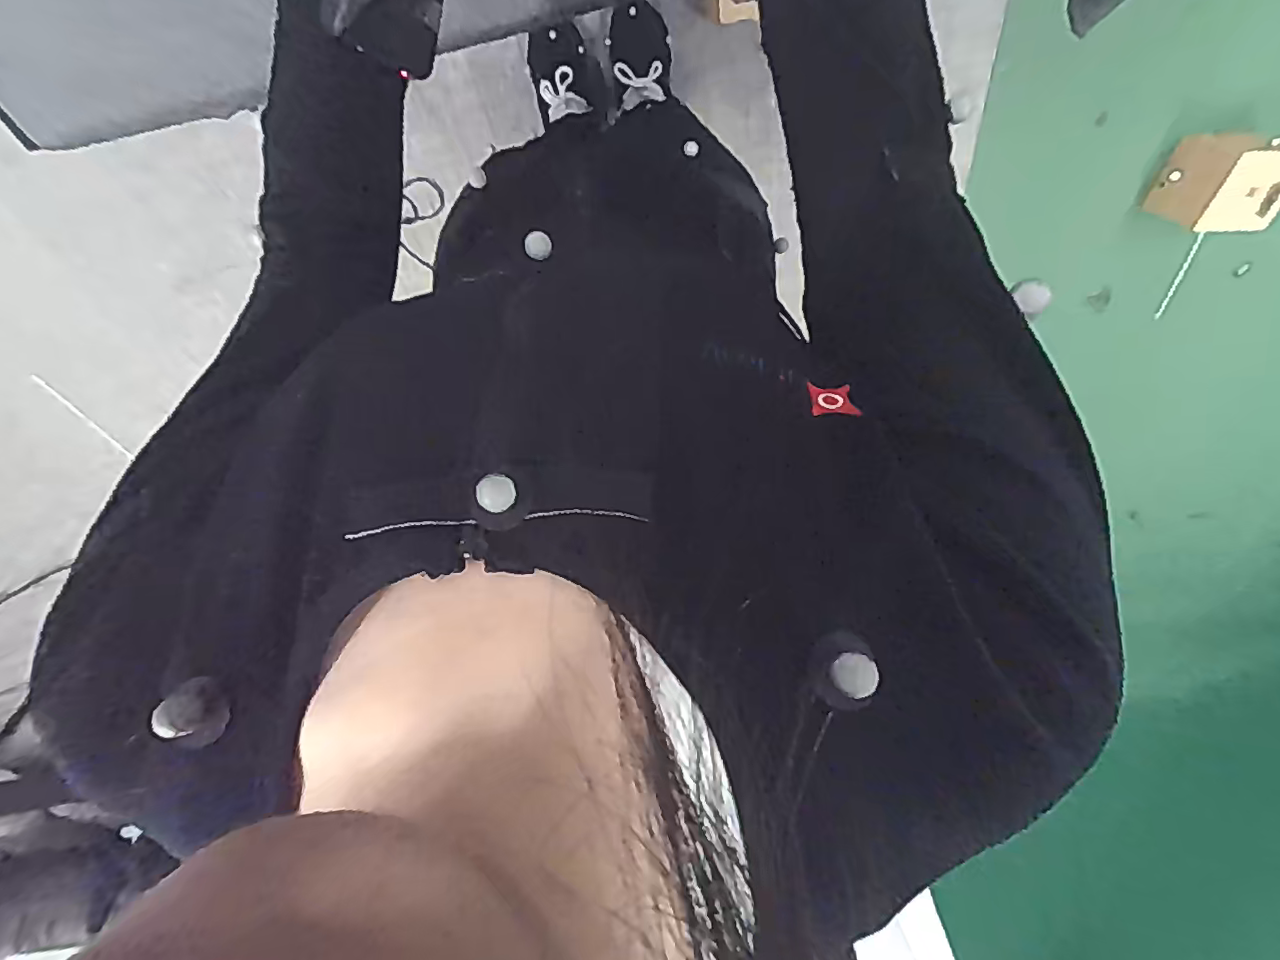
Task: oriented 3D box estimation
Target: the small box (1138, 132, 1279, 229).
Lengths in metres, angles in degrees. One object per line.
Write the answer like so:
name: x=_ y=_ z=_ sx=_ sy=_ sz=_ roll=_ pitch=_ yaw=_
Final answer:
small box: x=1.343 y=-0.698 z=1.257 sx=0.179 sy=0.176 sz=0.168 roll=-2 pitch=134 yaw=-2
